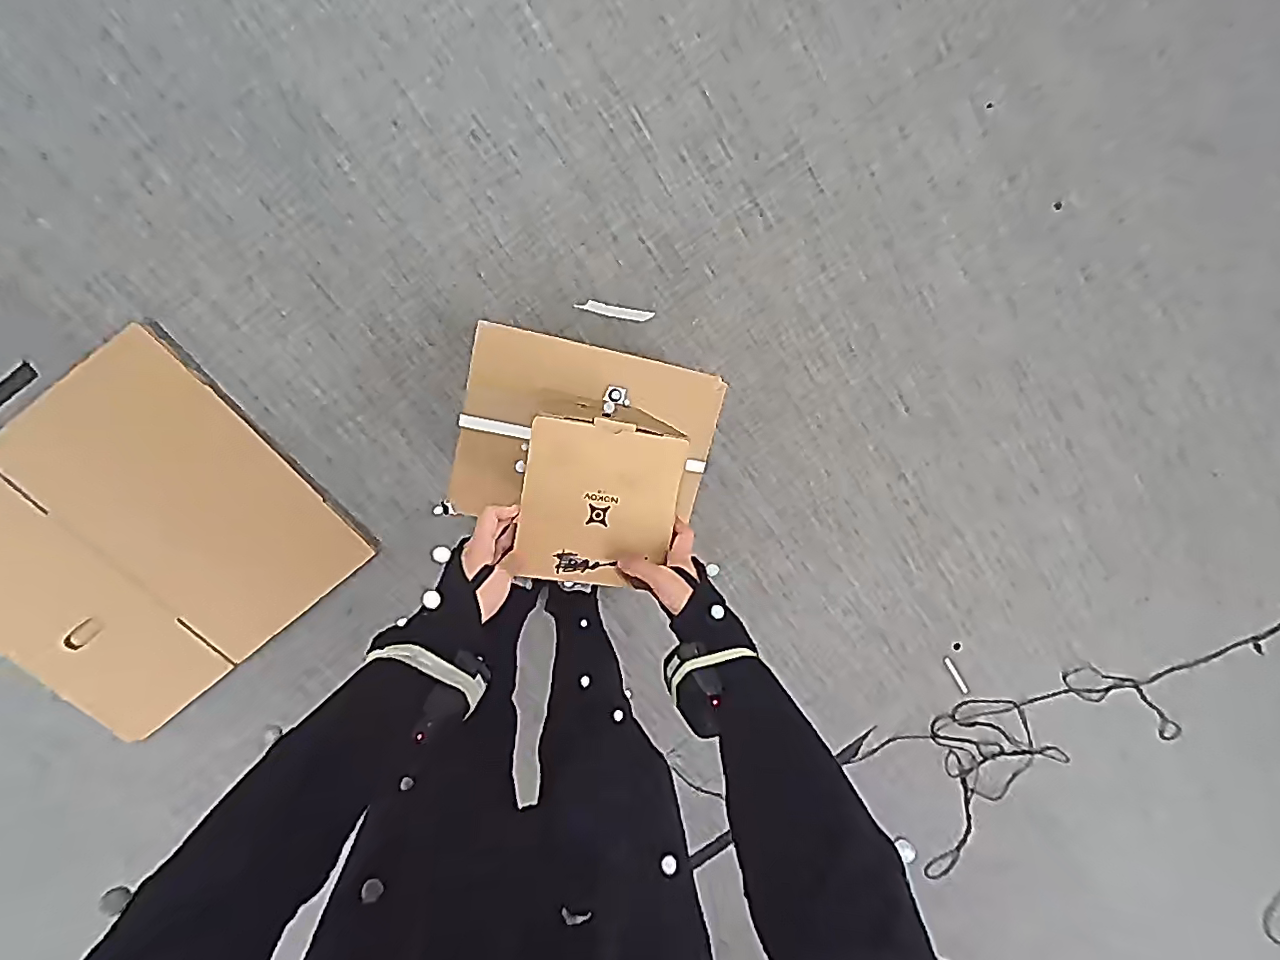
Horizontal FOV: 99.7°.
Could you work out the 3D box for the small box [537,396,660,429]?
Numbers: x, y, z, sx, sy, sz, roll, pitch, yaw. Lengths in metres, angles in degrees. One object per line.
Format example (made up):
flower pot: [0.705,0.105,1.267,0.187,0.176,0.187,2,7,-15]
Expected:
small box: [-0.081,-0.022,0.802,0.168,0.176,0.179,10,101,-11]

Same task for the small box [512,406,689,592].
small box: [-0.054,0.012,0.643,0.168,0.176,0.179,9,100,-11]
